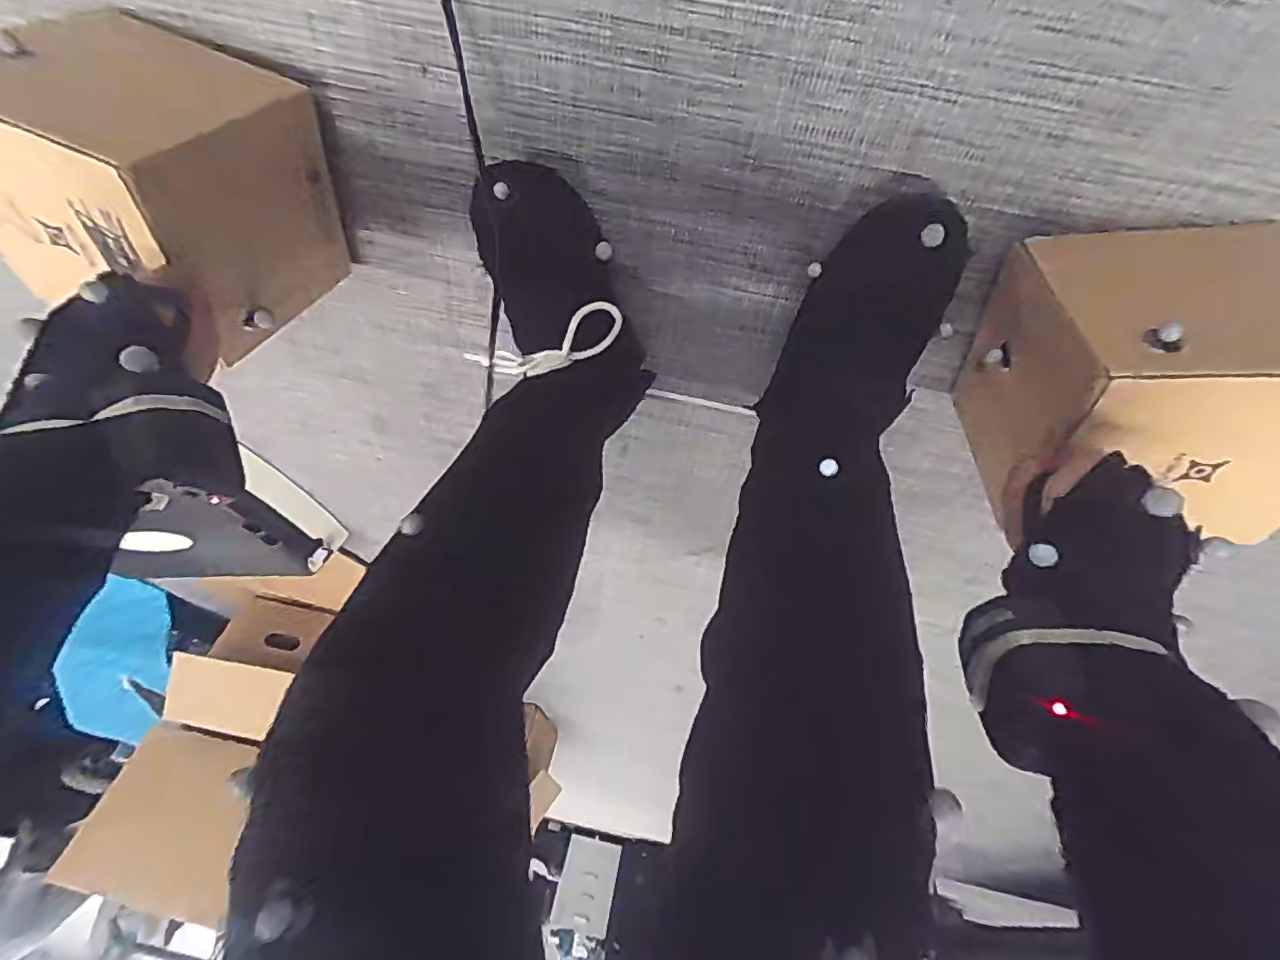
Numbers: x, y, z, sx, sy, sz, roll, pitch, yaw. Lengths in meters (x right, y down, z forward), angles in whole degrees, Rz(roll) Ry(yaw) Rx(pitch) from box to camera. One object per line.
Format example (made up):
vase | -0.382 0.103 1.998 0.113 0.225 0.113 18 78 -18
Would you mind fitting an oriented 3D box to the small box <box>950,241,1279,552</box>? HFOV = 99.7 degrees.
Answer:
small box | 0.369 -0.060 0.407 0.179 0.176 0.168 0 141 10
